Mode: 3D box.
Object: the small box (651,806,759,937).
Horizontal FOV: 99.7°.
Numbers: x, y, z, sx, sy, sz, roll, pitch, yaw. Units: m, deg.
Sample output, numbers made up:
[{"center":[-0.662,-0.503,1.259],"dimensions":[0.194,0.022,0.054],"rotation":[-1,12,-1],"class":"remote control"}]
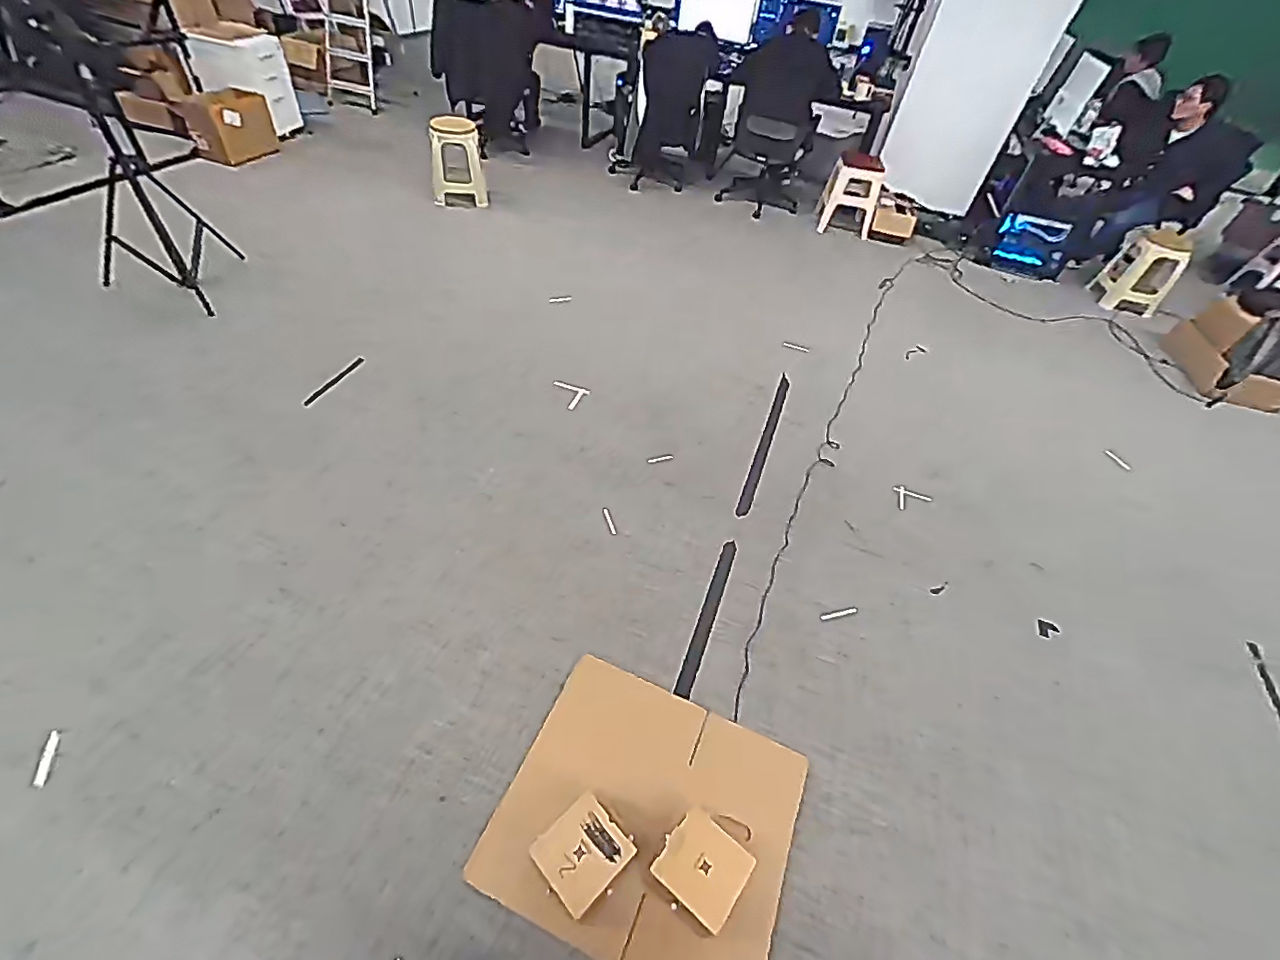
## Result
[{"center":[0.141,0.891,1.231],"dimensions":[0.179,0.176,0.168],"rotation":[31,53,24],"class":"small box"}]
